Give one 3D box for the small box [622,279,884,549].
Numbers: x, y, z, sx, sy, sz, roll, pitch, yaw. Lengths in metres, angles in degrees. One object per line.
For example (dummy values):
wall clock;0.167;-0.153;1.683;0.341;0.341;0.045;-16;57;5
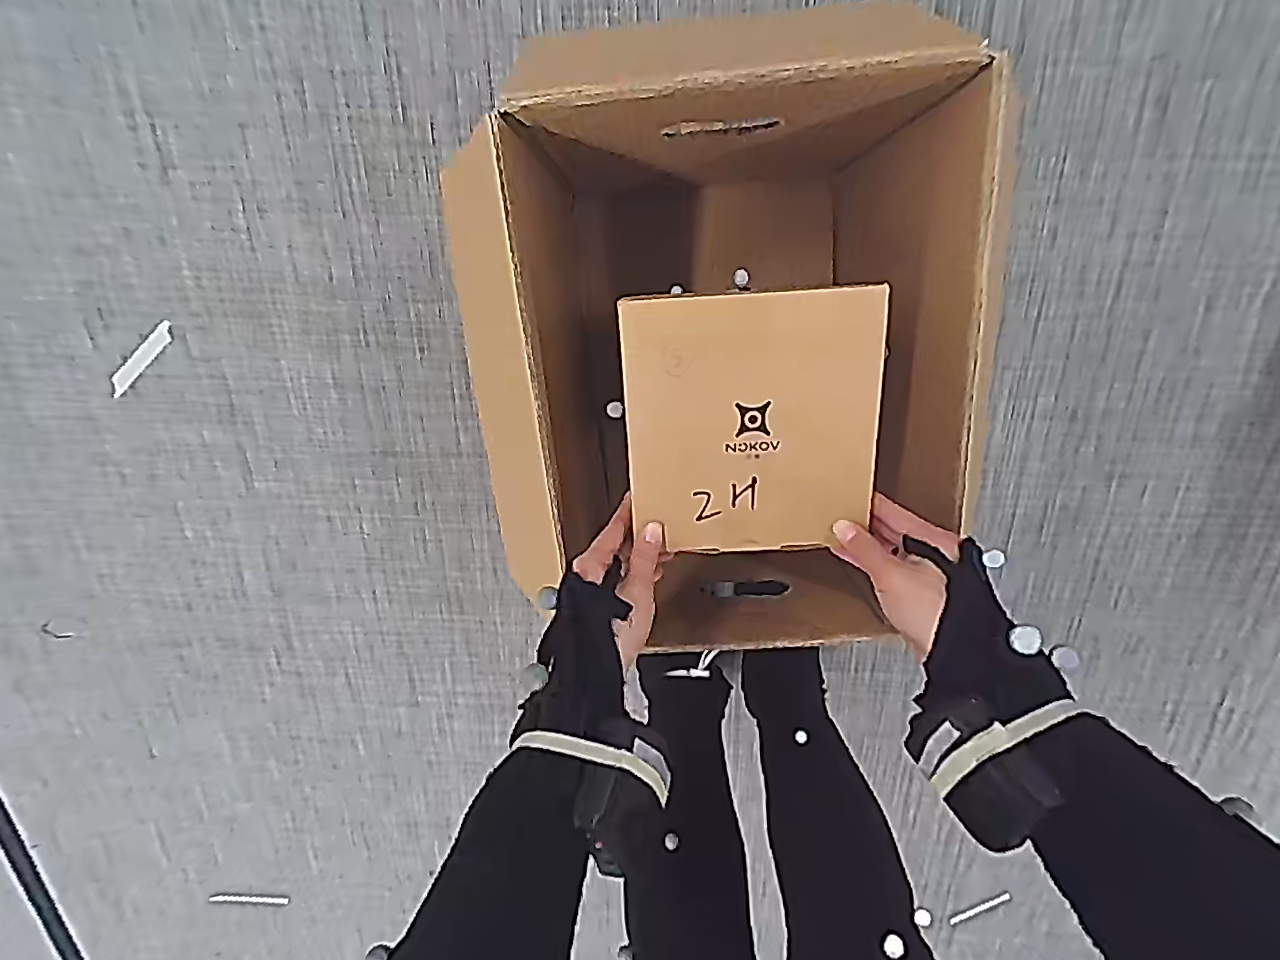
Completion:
small box;0.074;-0.061;0.432;0.168;0.176;0.179;-2;109;3
